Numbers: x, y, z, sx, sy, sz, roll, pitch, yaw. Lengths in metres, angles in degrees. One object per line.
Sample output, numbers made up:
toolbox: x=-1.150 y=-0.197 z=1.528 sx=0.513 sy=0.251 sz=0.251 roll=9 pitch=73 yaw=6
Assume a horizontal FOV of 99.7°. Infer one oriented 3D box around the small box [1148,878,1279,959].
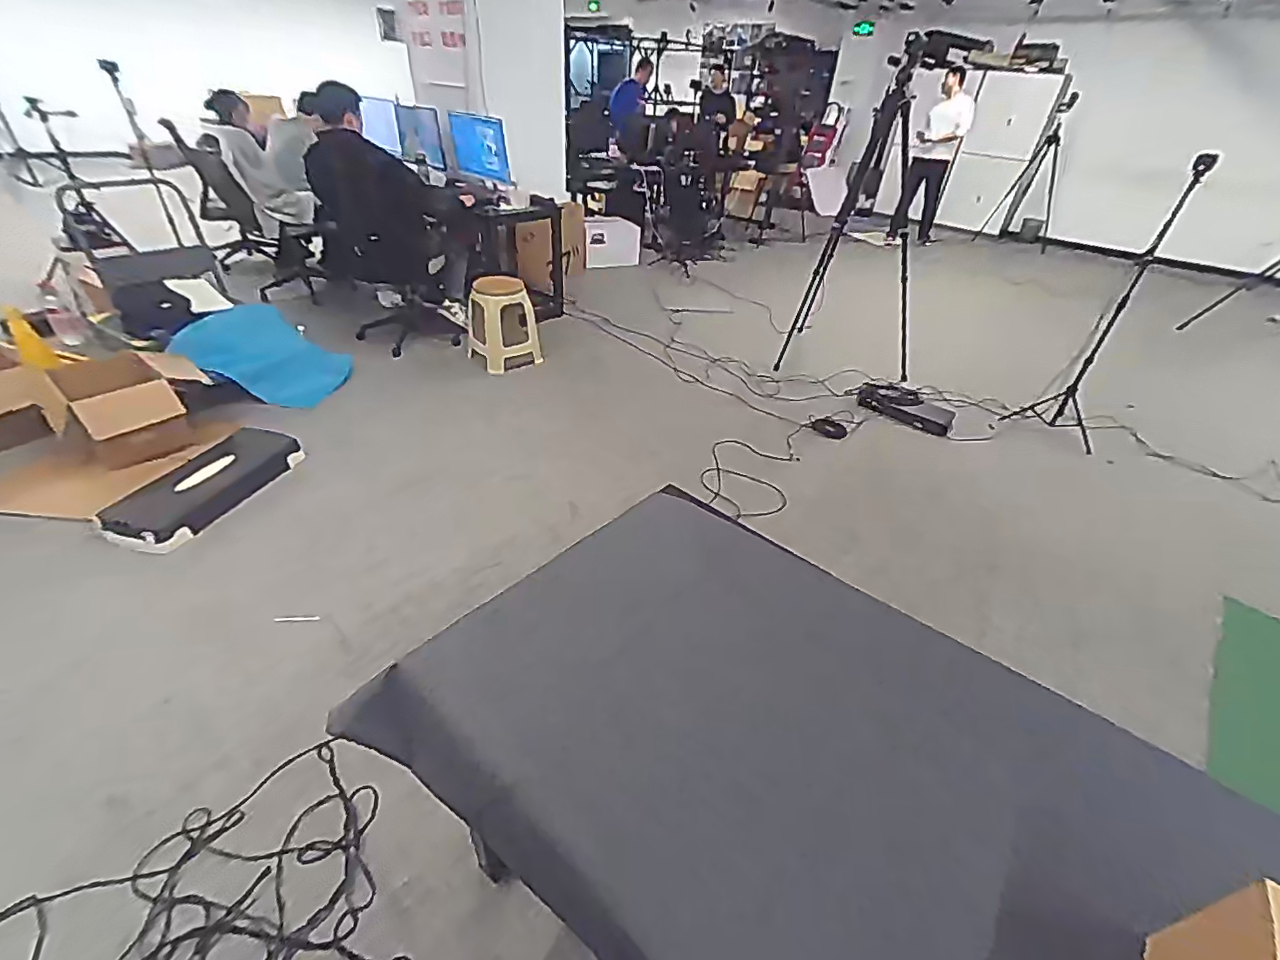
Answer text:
small box: x=0.527 y=0.467 z=0.406 sx=0.168 sy=0.176 sz=0.179 roll=29 pitch=42 yaw=29
